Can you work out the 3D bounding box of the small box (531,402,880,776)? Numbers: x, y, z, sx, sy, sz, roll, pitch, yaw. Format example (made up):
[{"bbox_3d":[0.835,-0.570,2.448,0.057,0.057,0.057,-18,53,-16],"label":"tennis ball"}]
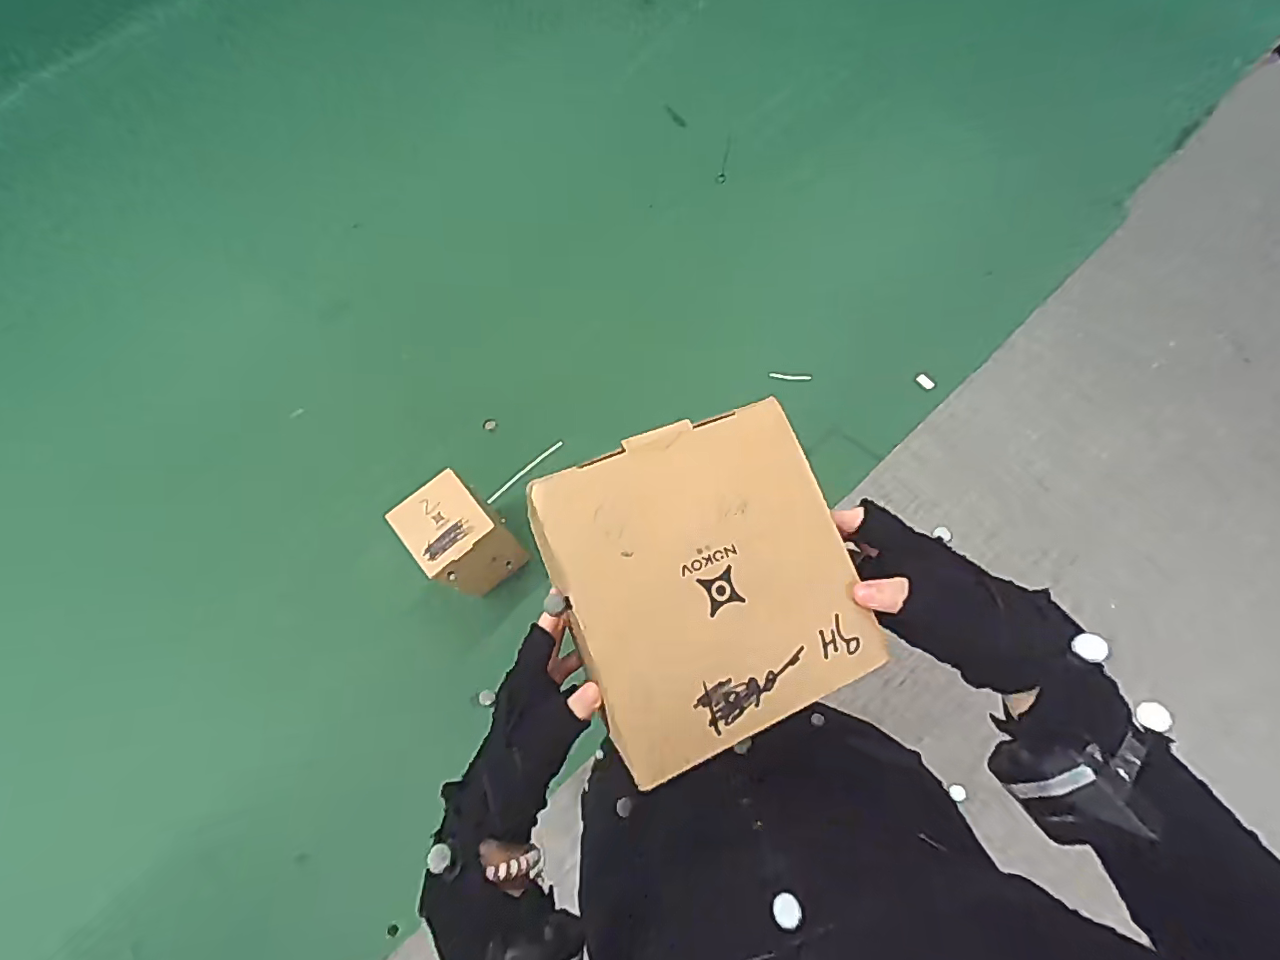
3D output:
[{"bbox_3d":[0.026,0.070,0.395,0.168,0.176,0.179,-22,84,-13],"label":"small box"}]

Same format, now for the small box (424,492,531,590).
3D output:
[{"bbox_3d":[-0.397,0.162,1.353,0.168,0.176,0.179,-37,74,-9],"label":"small box"}]
